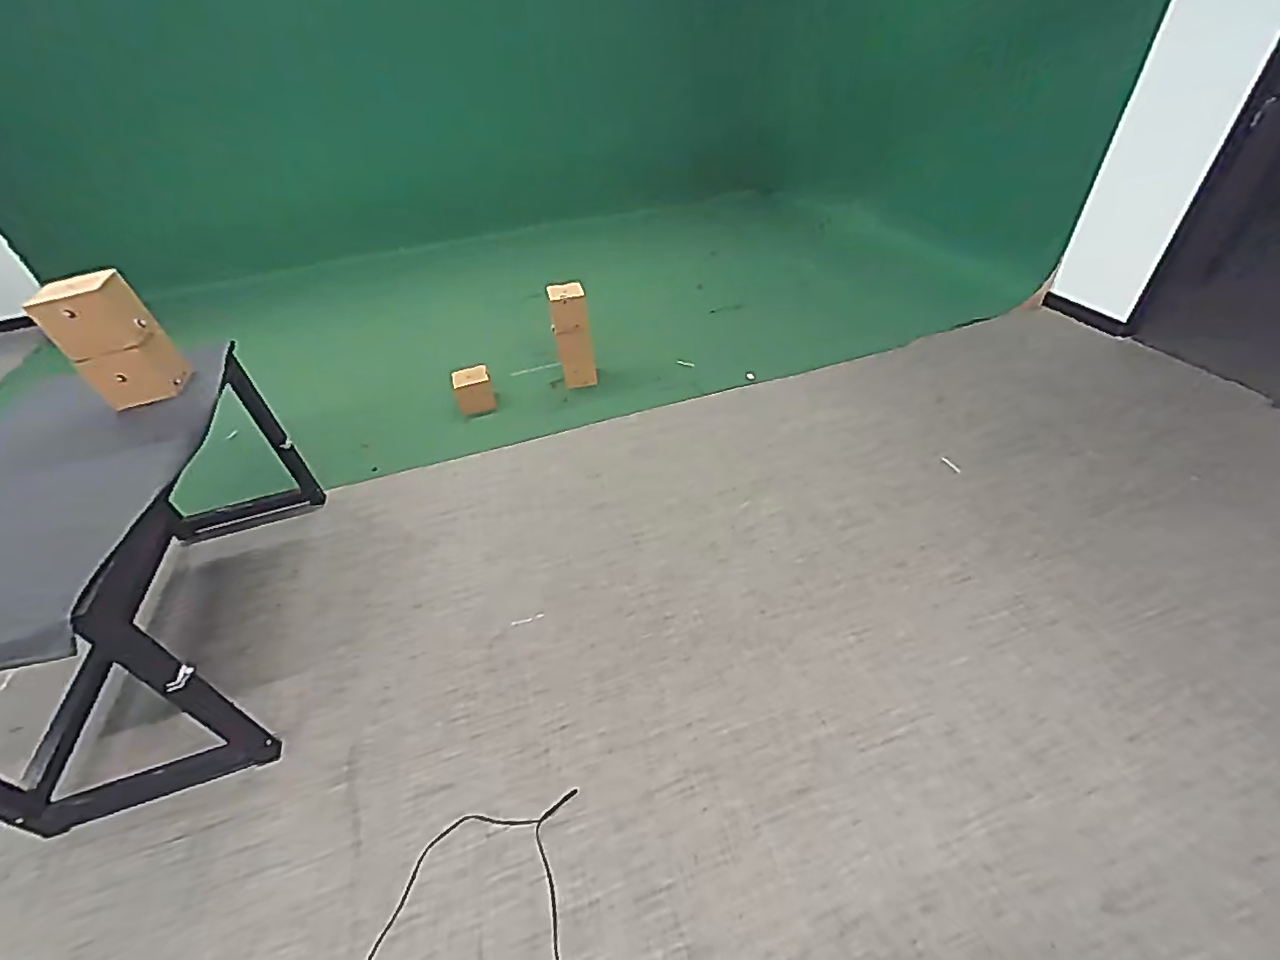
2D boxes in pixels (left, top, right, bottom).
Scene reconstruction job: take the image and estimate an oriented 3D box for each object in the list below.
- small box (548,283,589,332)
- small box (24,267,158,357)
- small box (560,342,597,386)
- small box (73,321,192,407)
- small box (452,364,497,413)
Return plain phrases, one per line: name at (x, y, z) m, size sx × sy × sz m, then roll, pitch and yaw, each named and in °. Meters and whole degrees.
small box at (-0.352, -0.847, 2.650) m, size 0.168 × 0.176 × 0.179 m, roll -12°, pitch 41°, yaw -8°
small box at (-1.507, -0.464, 1.500) m, size 0.179 × 0.176 × 0.168 m, roll -19°, pitch 45°, yaw -12°
small box at (-0.325, -0.611, 2.877) m, size 0.168 × 0.176 × 0.179 m, roll -10°, pitch 42°, yaw -5°
small box at (-1.494, -0.345, 1.610) m, size 0.179 × 0.176 × 0.168 m, roll -17°, pitch 44°, yaw -8°
small box at (-0.848, -0.465, 2.768) m, size 0.179 × 0.176 × 0.168 m, roll -16°, pitch 43°, yaw -11°
